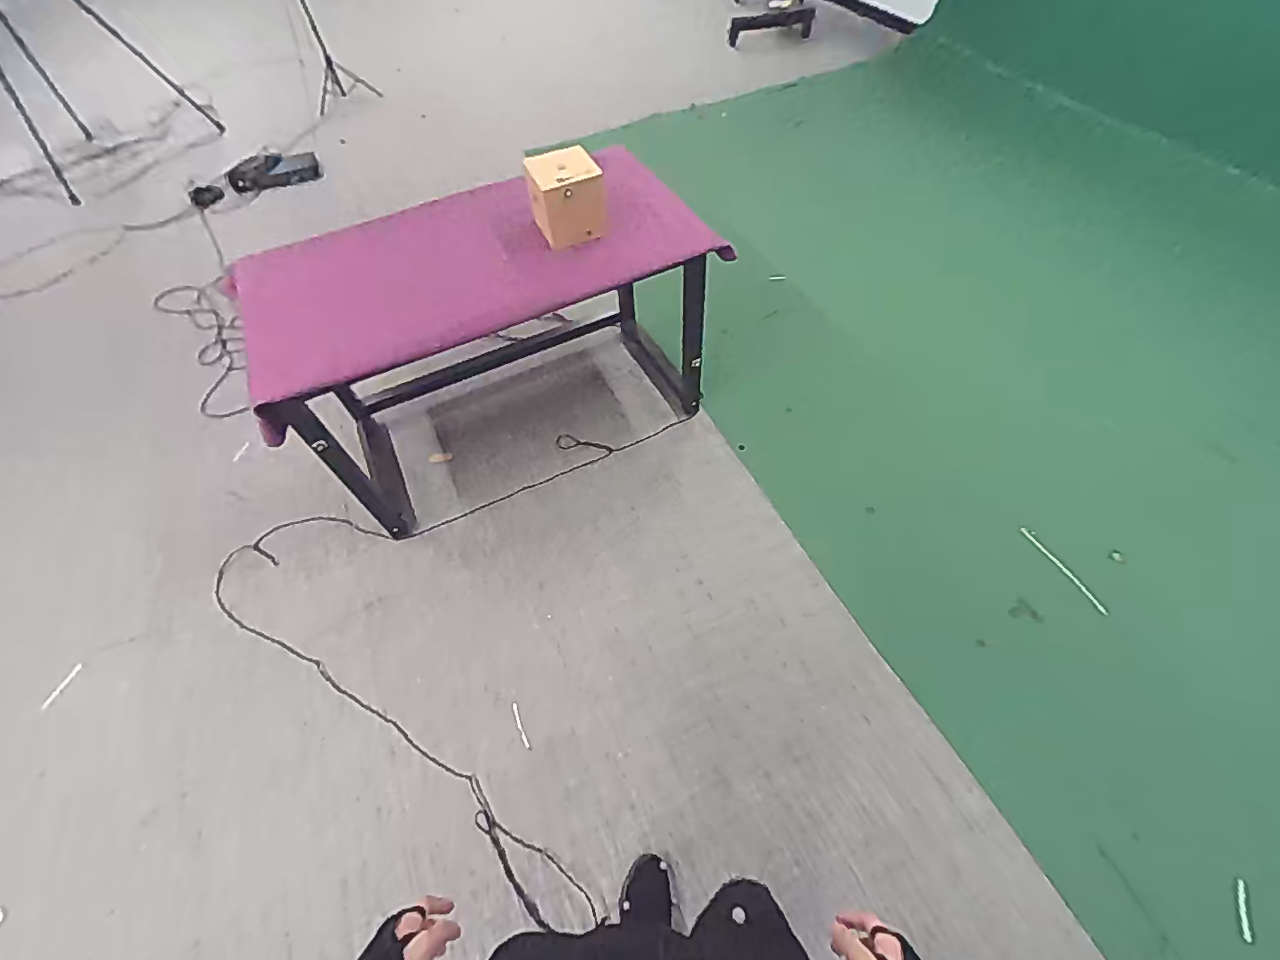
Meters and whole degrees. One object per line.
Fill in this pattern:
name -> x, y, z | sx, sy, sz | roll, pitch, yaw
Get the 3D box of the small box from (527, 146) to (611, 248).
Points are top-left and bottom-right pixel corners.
small box -> -0.188, -0.757, 1.451 | 0.168, 0.176, 0.179 | -22, 57, -10
